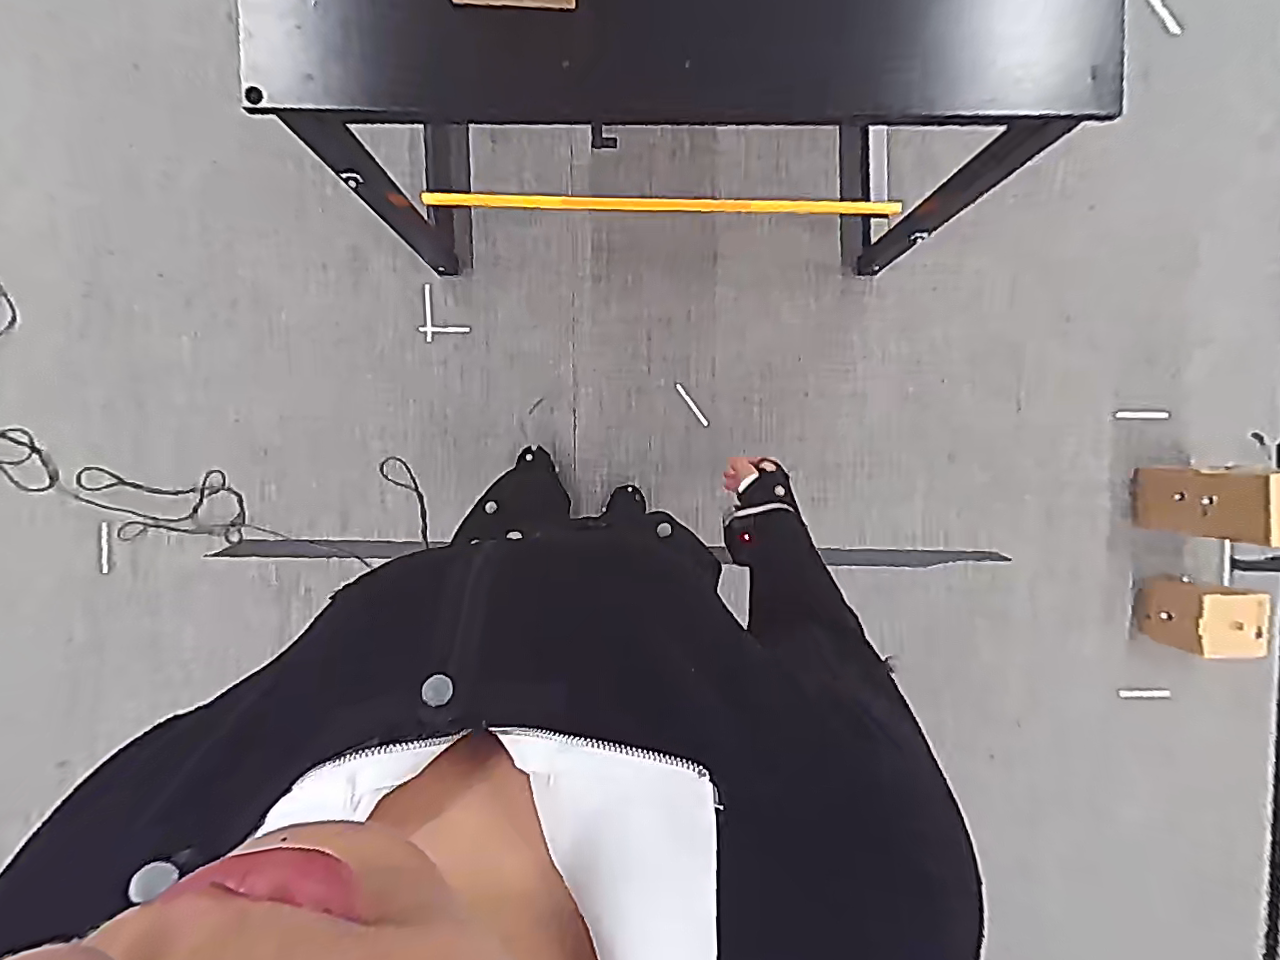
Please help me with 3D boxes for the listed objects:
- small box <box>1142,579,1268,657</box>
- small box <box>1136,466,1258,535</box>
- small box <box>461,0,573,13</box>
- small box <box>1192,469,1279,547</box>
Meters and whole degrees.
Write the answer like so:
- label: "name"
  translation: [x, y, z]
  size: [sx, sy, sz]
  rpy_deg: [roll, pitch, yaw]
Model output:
- label: "small box"
  translation: [1.517, 0.368, 1.463]
  size: [0.179, 0.176, 0.168]
  rpy_deg: [0, 92, -1]
- label: "small box"
  translation: [1.482, 0.050, 1.447]
  size: [0.168, 0.176, 0.179]
  rpy_deg: [-2, 93, -1]
- label: "small box"
  translation: [-0.167, -0.721, 0.648]
  size: [0.168, 0.176, 0.179]
  rpy_deg: [1, 92, -1]
- label: "small box"
  translation: [1.482, 0.061, 1.285]
  size: [0.179, 0.176, 0.168]
  rpy_deg: [-4, 91, 0]
